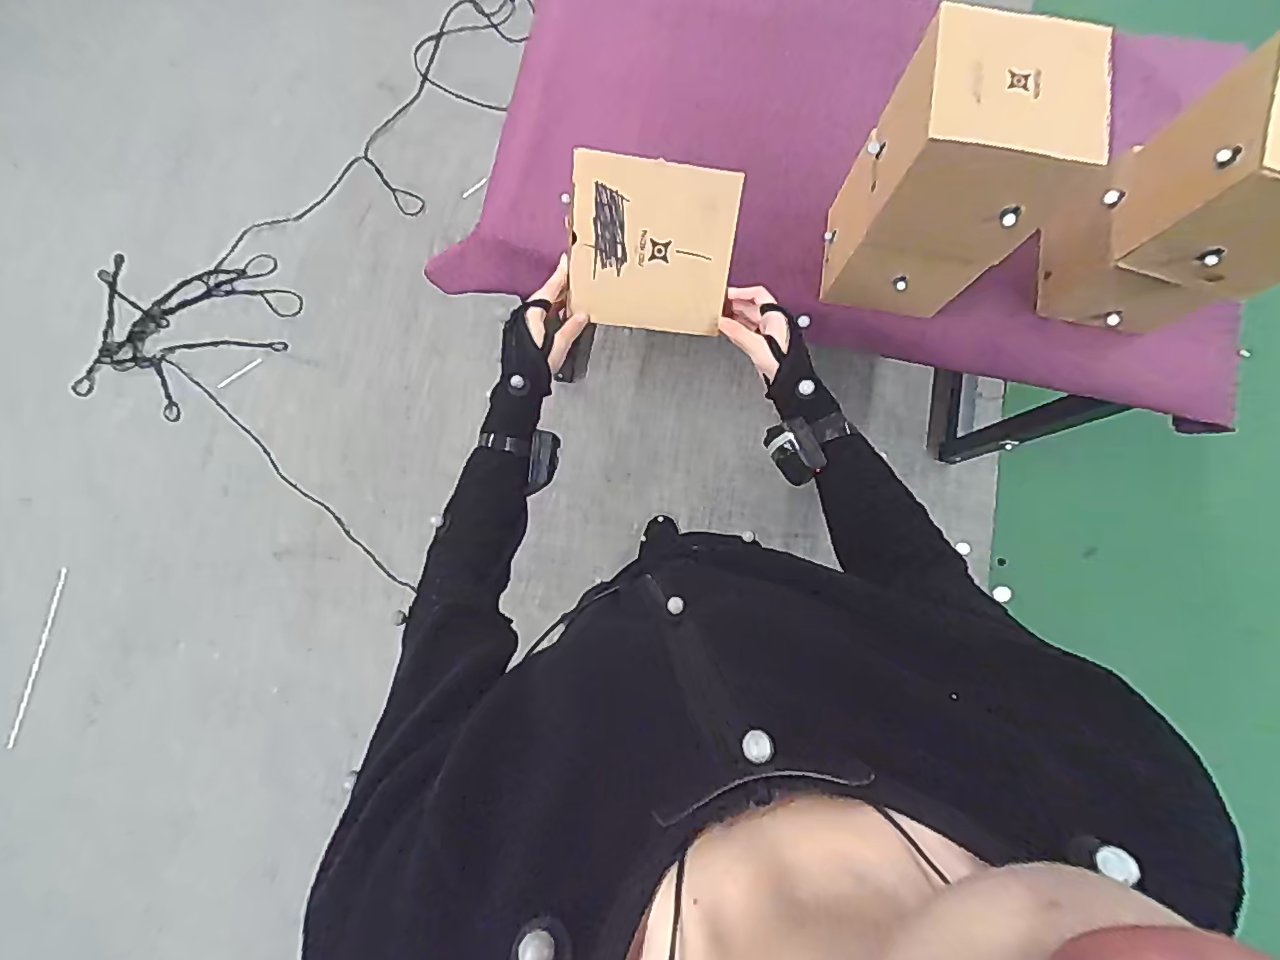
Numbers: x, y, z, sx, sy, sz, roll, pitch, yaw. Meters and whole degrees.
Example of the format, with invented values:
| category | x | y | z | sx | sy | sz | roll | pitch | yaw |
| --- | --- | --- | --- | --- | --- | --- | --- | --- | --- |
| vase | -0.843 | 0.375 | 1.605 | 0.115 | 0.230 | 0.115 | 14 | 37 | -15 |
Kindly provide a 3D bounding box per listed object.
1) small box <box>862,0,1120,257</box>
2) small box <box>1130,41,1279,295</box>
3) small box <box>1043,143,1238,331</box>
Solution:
| category | x | y | z | sx | sy | sz | roll | pitch | yaw |
| --- | --- | --- | --- | --- | --- | --- | --- | --- | --- |
| small box | 0.374 | -0.376 | 0.602 | 0.179 | 0.176 | 0.168 | 11 | 79 | 3 |
| small box | 0.700 | -0.340 | 0.596 | 0.168 | 0.176 | 0.179 | 18 | 81 | 4 |
| small box | 0.718 | -0.328 | 0.760 | 0.179 | 0.176 | 0.168 | 10 | 79 | 3 |
